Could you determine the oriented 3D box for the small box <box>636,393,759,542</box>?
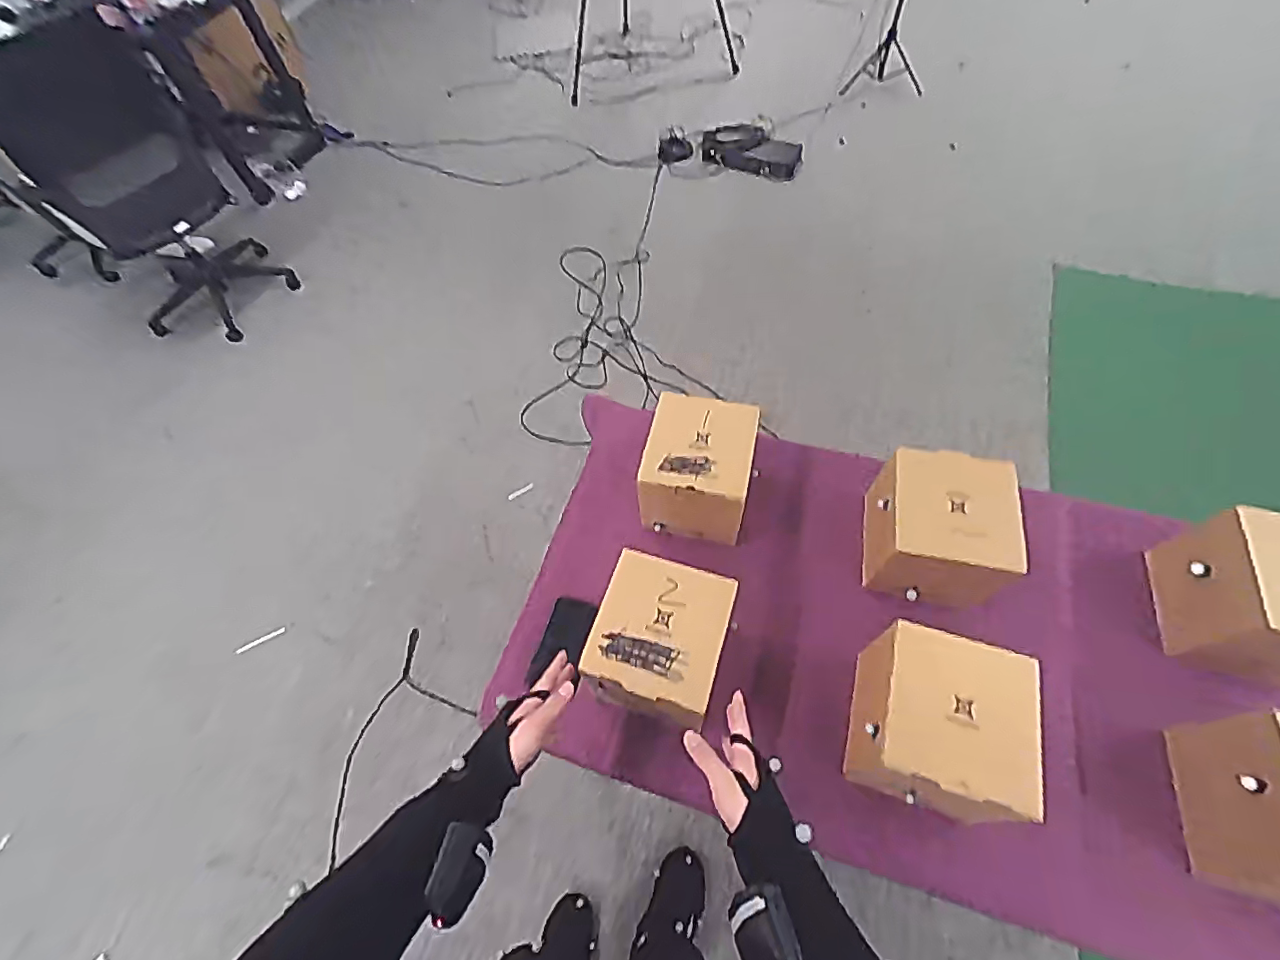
[{"bbox_3d":[0.097,-0.015,0.902,0.168,0.176,0.179,11,60,9],"label":"small box"}]

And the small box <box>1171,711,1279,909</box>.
[{"bbox_3d":[0.765,0.388,0.613,0.168,0.176,0.179,12,59,12],"label":"small box"}]

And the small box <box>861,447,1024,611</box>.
[{"bbox_3d":[0.448,0.078,0.827,0.168,0.176,0.179,10,61,11],"label":"small box"}]

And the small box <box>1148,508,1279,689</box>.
[{"bbox_3d":[0.860,0.167,0.745,0.168,0.176,0.179,12,60,11],"label":"small box"}]

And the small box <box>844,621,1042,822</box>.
[{"bbox_3d":[0.374,0.309,0.690,0.168,0.176,0.179,15,61,12],"label":"small box"}]
